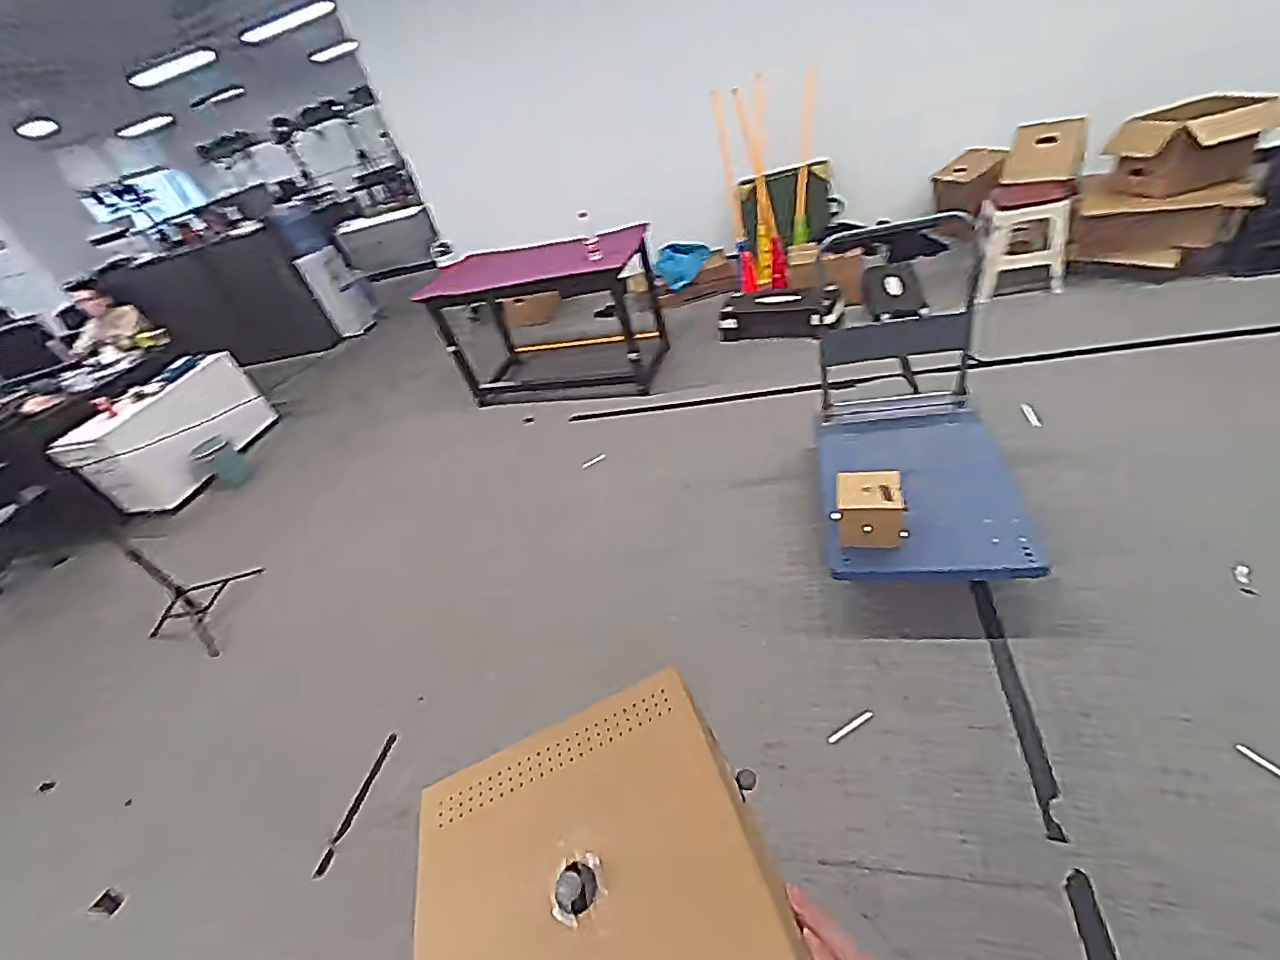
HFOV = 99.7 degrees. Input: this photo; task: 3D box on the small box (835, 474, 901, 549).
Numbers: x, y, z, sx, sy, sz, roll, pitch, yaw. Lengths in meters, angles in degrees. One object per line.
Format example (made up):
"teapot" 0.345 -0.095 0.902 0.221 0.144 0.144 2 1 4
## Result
"small box" 0.694 0.098 1.659 0.179 0.176 0.168 -2 40 21
